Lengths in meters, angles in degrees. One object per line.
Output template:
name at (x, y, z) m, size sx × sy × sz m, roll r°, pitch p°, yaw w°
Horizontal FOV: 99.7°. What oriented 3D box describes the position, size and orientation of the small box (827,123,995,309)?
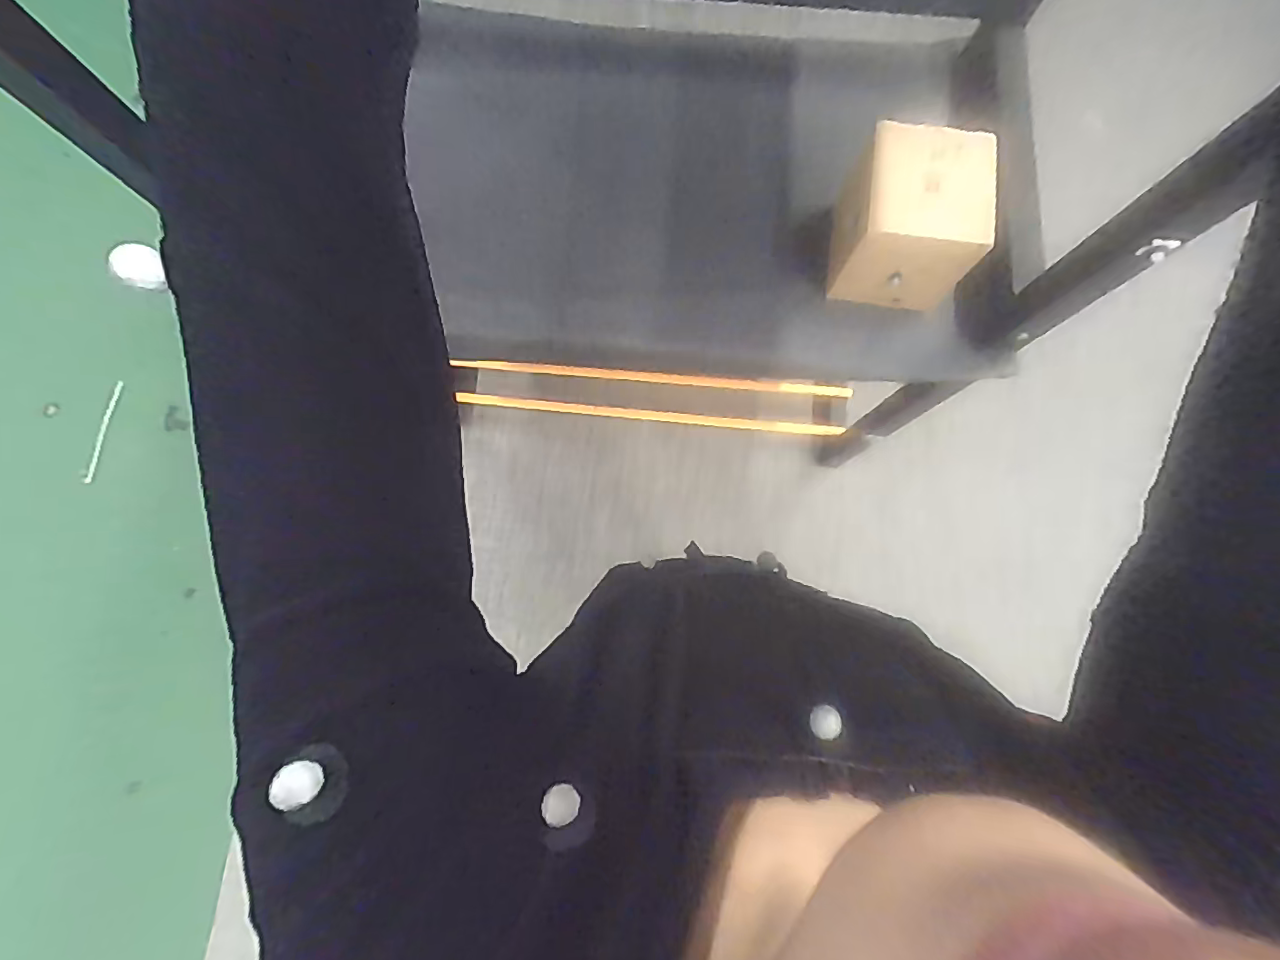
small box at (0.387, -0.376, 0.797) m, size 0.168 × 0.176 × 0.179 m, roll 9°, pitch 78°, yaw 2°
